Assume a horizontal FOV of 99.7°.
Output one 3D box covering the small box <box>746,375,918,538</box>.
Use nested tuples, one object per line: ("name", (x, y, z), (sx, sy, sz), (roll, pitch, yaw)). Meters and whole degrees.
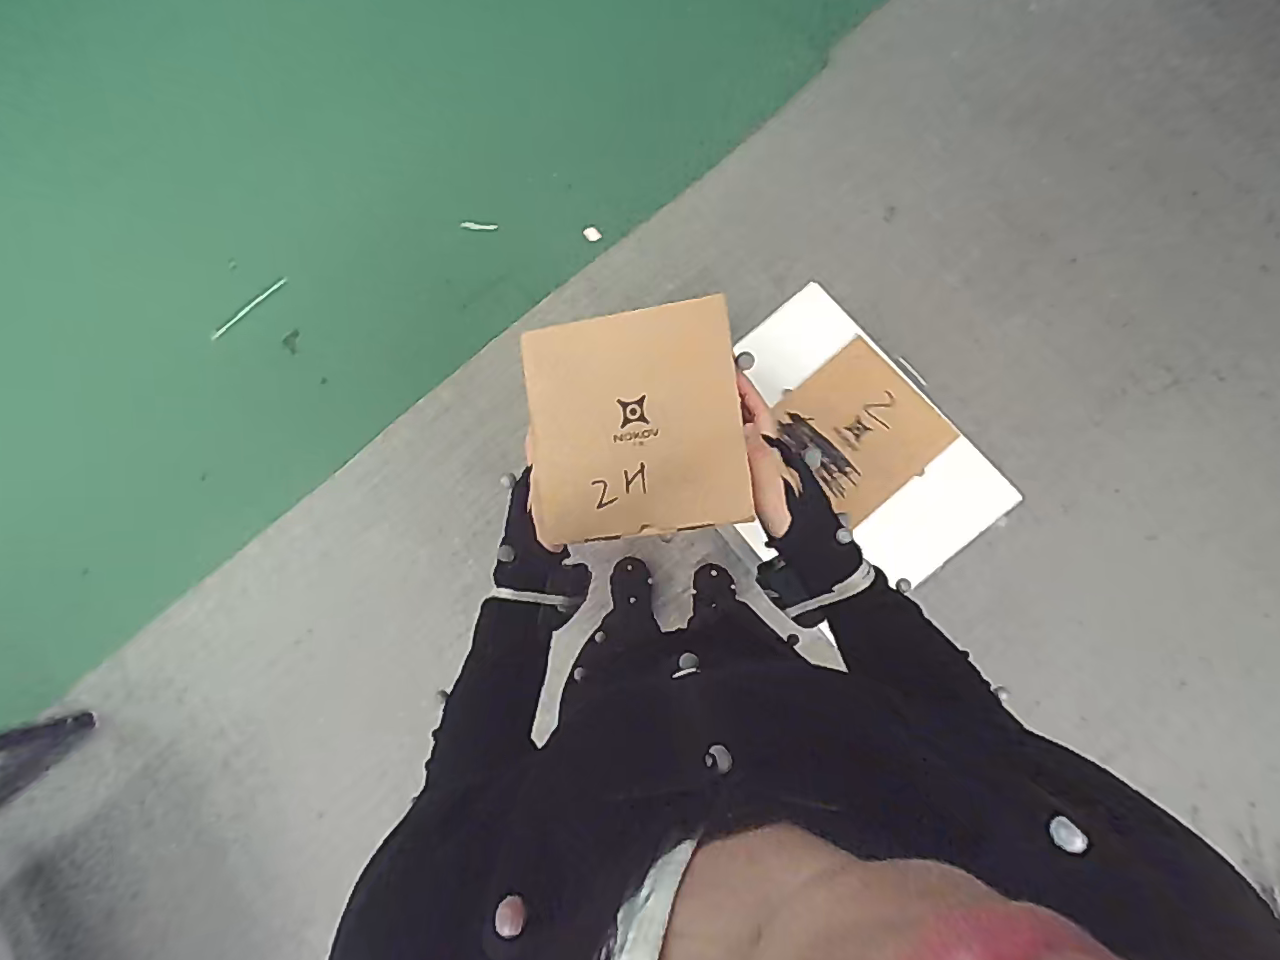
("small box", (0.275, -0.026, 0.833), (0.179, 0.176, 0.168), (-39, 80, 0))

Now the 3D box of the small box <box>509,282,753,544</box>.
("small box", (0.002, -0.045, 0.480), (0.168, 0.176, 0.179), (-10, 87, 10))
